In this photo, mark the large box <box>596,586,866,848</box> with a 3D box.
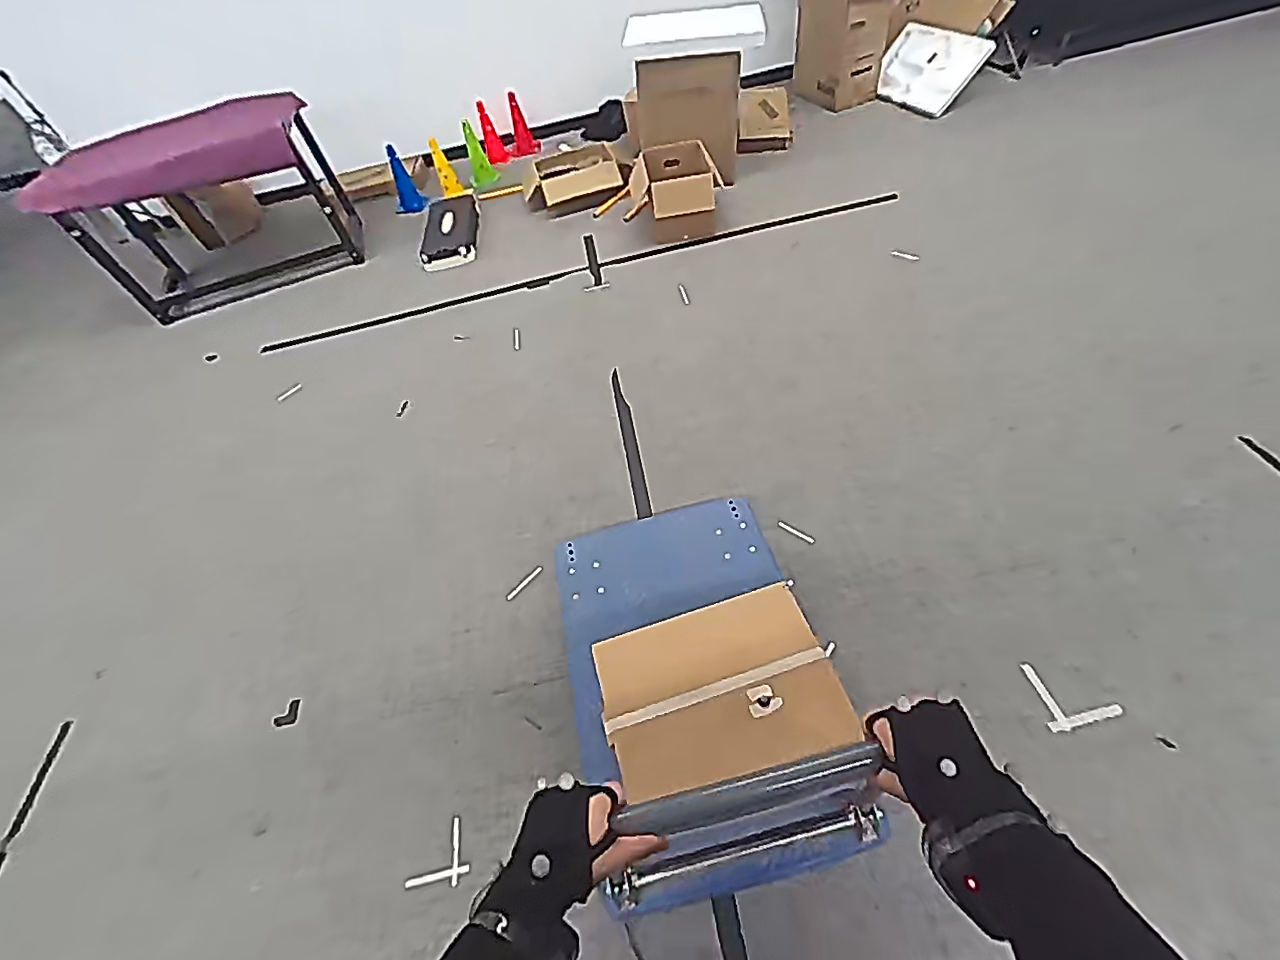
[{"bbox_3d":[0.162,0.474,1.078,0.408,0.320,0.320,-17,51,-5],"label":"large box"}]
